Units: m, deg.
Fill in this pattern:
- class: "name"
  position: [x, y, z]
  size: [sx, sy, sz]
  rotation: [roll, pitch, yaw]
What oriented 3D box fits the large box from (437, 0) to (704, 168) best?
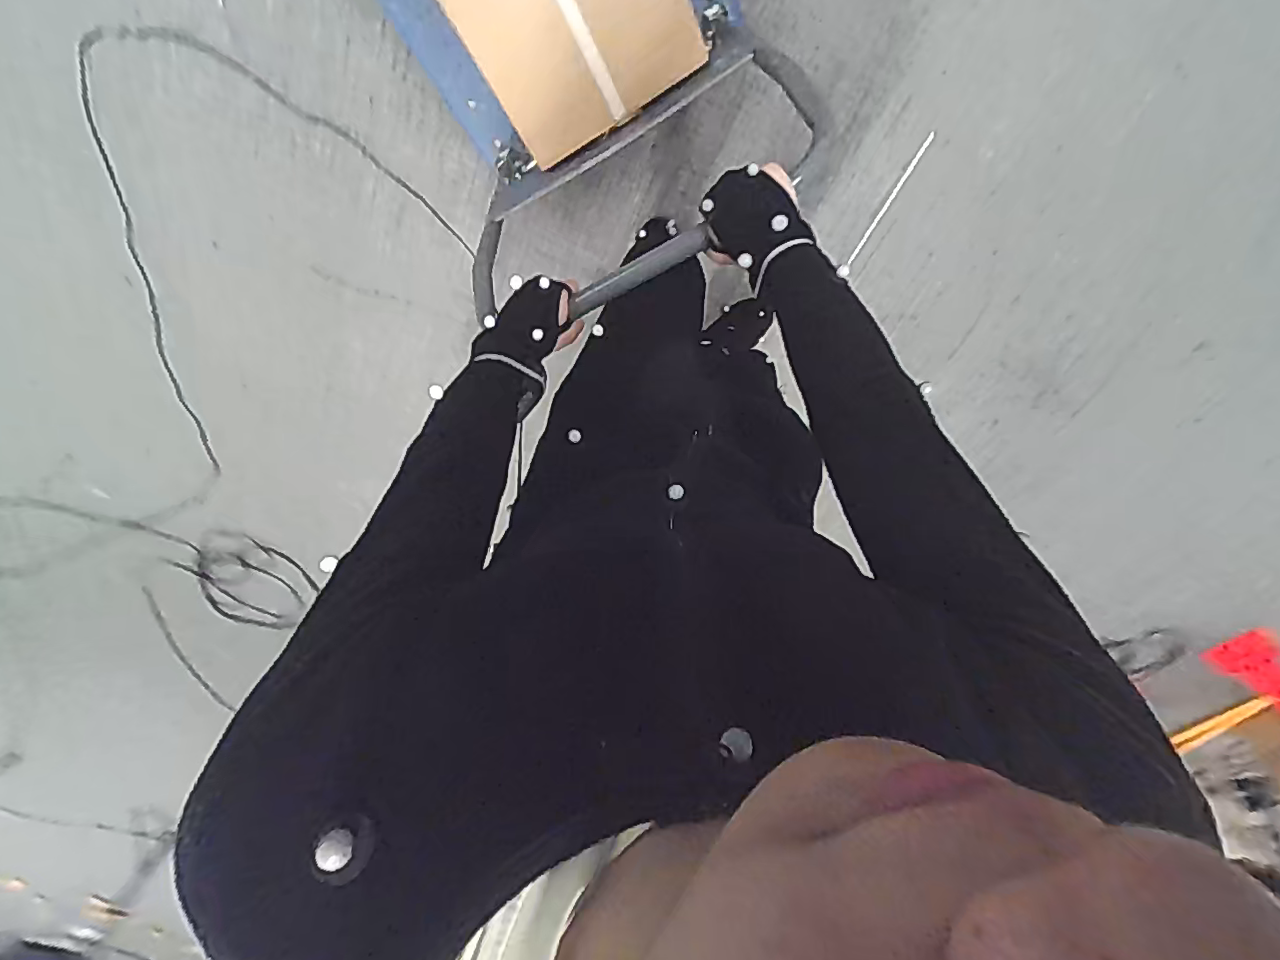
- class: "large box"
  position: [-0.132, -0.805, 0.860]
  size: [0.320, 0.320, 0.408]
  rotation: [-24, 129, 17]
